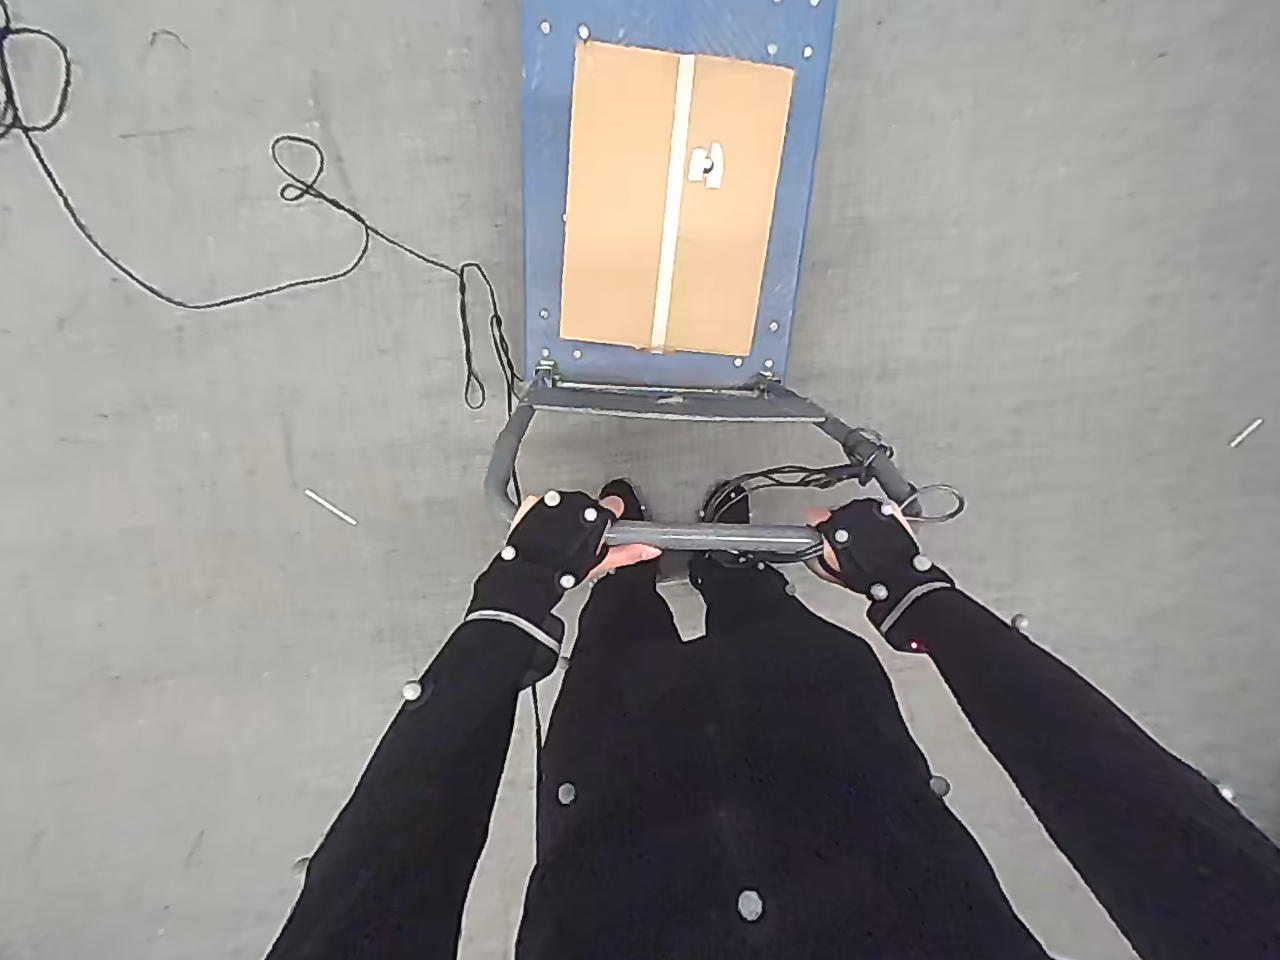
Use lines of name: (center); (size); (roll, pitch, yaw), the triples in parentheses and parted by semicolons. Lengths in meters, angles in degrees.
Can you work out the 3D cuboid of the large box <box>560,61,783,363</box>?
large box: (0.035, -0.431, 0.967); (0.320, 0.320, 0.408); (4, 106, -5)
